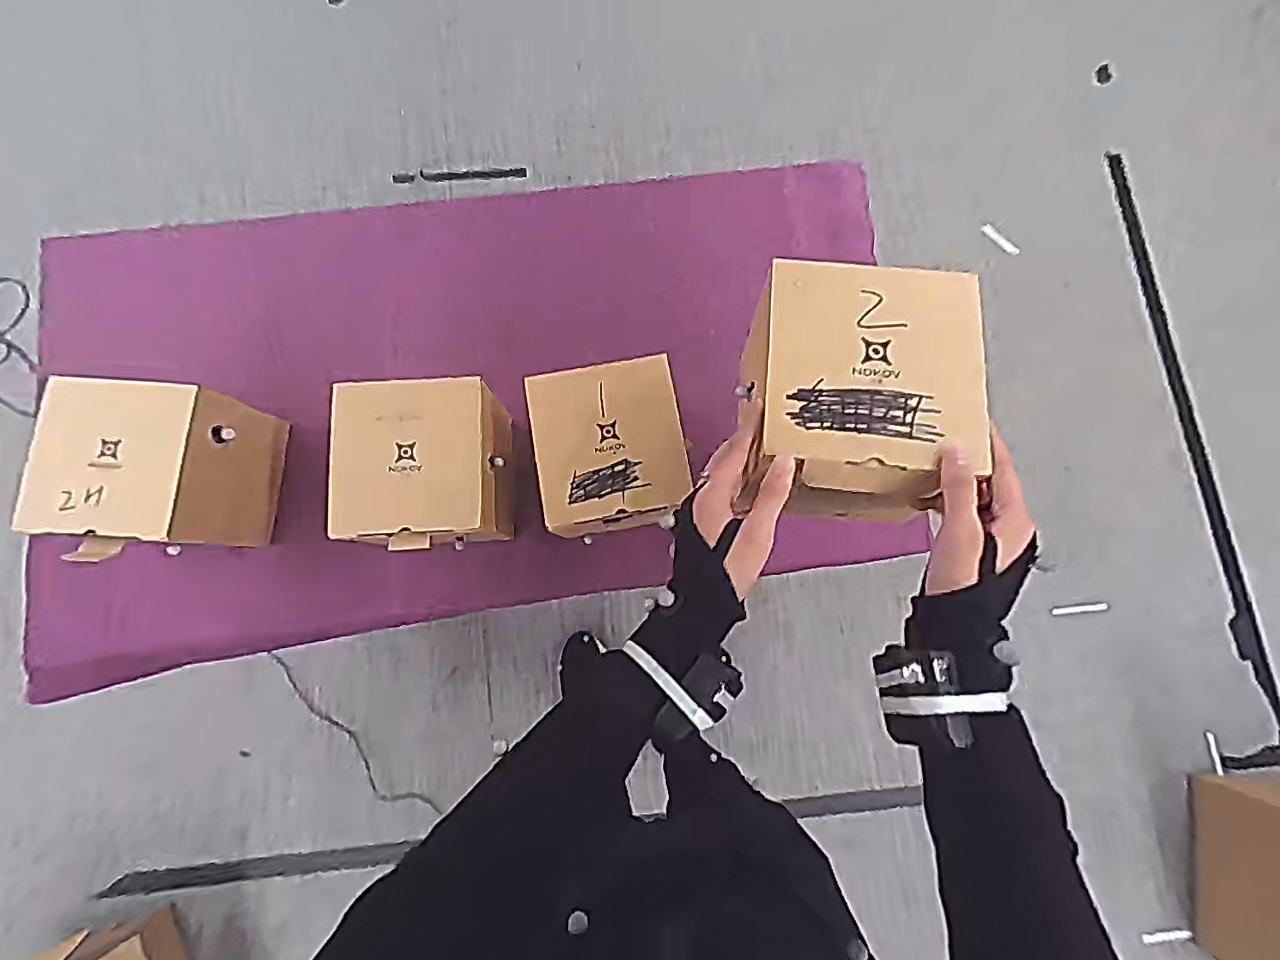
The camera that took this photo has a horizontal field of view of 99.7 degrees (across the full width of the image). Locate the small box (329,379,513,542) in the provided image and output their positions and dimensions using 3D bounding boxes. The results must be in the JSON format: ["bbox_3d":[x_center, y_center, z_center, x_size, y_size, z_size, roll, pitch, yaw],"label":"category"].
[{"bbox_3d":[-0.255,-0.013,0.670,0.168,0.176,0.179,-2,81,-2],"label":"small box"}]

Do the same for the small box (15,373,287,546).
[{"bbox_3d":[-0.573,-0.015,0.662,0.168,0.176,0.179,4,81,0],"label":"small box"}]
